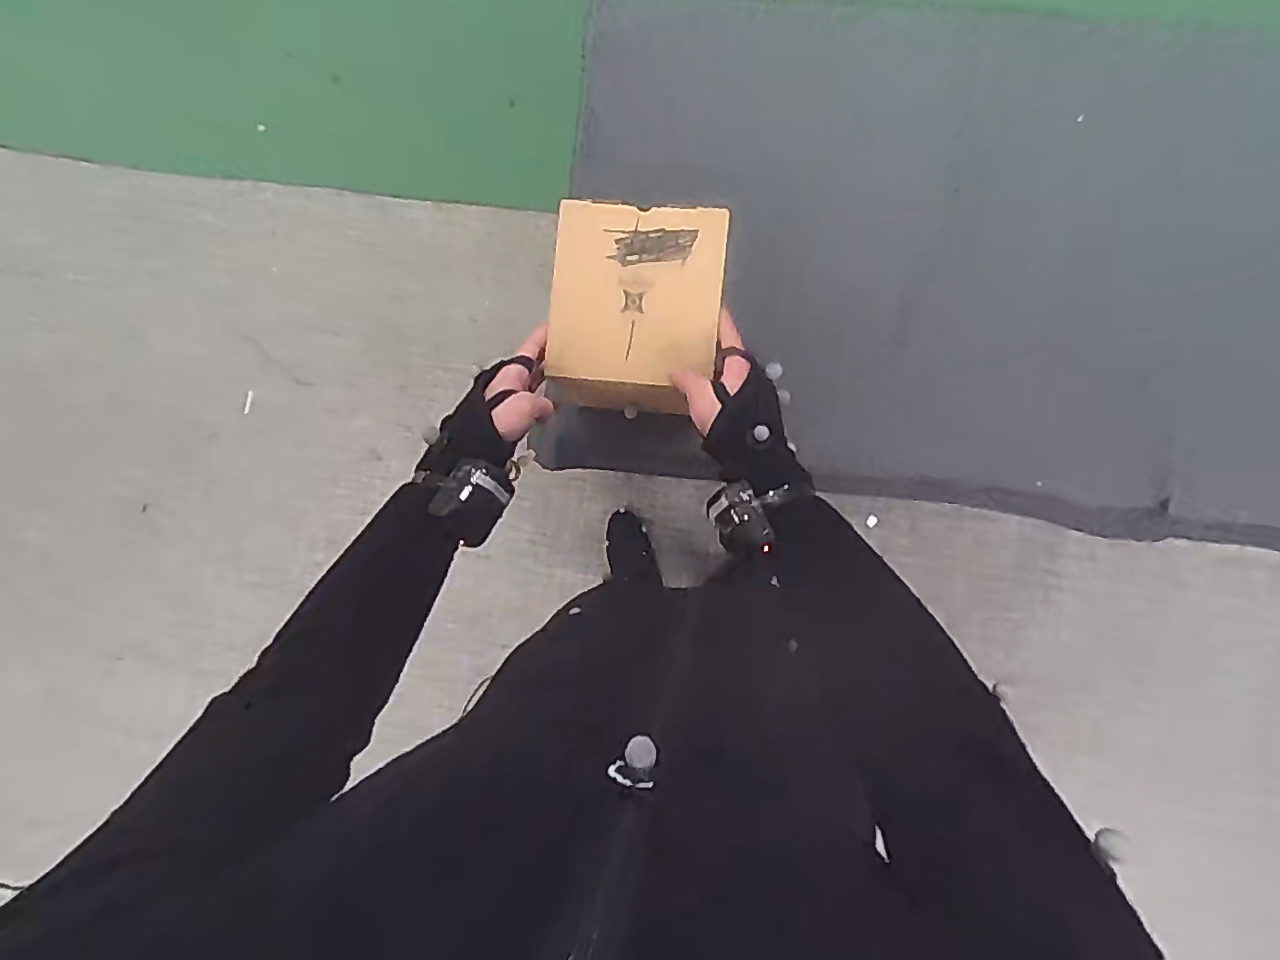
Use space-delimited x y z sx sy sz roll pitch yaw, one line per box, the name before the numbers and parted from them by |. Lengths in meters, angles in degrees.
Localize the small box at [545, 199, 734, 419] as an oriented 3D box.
small box | 0.005 -0.173 0.591 0.168 0.176 0.179 6 88 5
